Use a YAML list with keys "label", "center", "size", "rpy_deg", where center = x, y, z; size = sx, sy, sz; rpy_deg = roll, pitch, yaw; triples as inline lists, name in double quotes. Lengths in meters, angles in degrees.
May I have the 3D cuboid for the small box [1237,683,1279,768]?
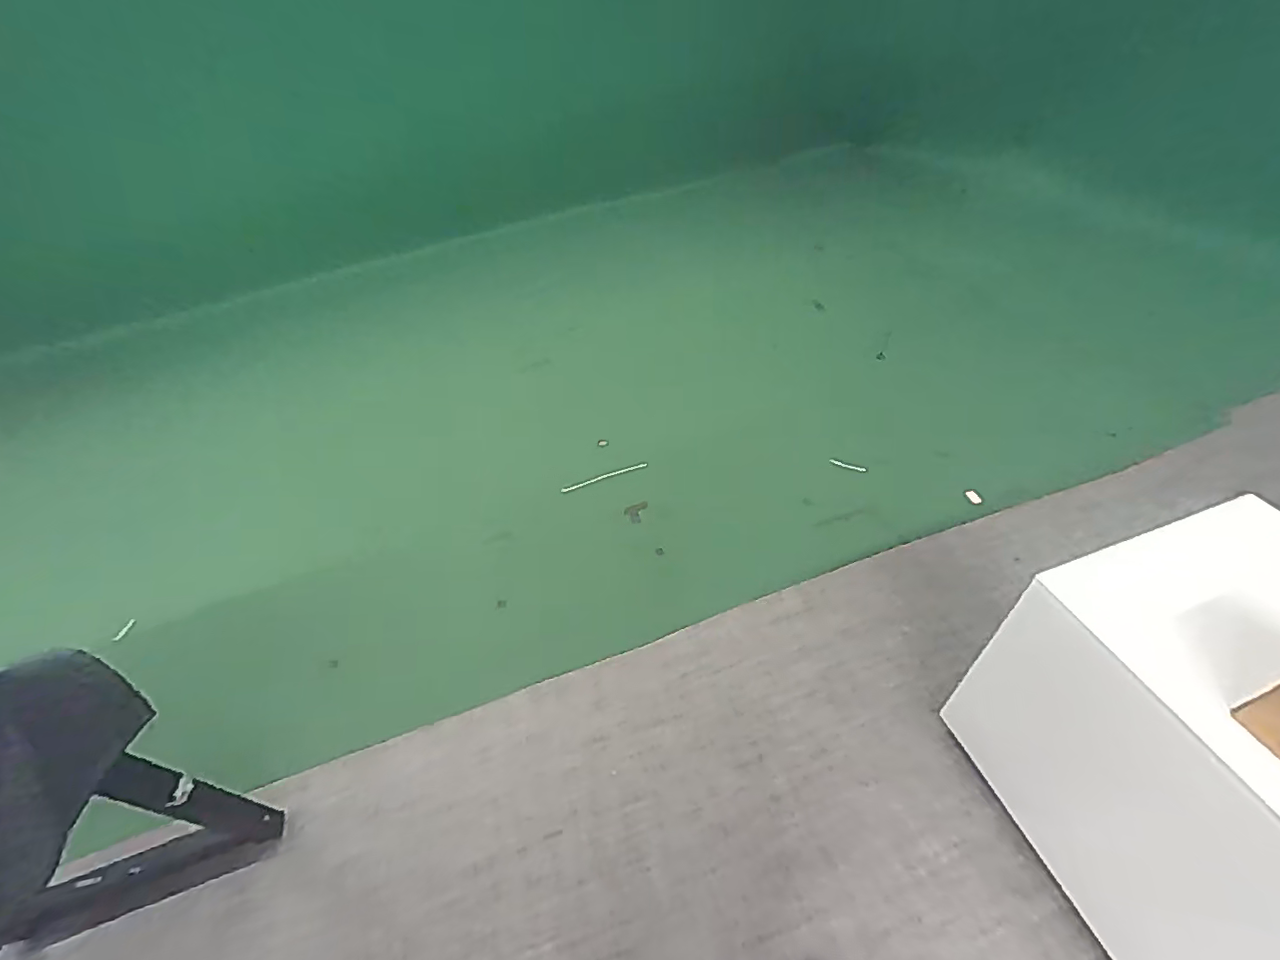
- label: "small box"
  center: [0.800, 0.257, 0.551]
  size: [0.179, 0.176, 0.168]
  rpy_deg: [-19, 47, -8]
